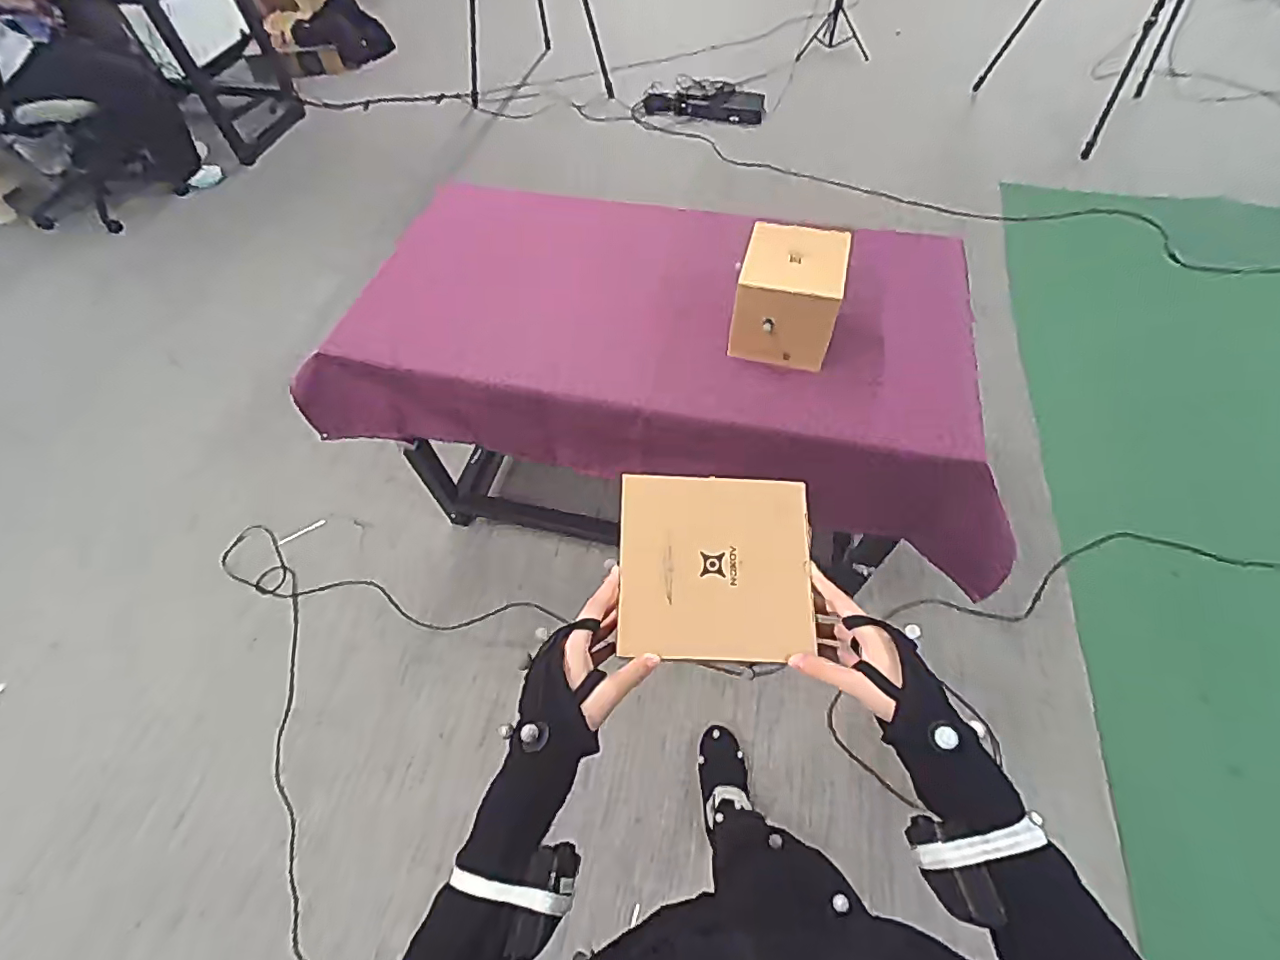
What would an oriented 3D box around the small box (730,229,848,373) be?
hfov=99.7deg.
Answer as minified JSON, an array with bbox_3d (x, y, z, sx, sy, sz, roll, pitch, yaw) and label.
[{"bbox_3d":[0.260,-0.316,0.967,0.168,0.176,0.179,12,57,10],"label":"small box"}]
